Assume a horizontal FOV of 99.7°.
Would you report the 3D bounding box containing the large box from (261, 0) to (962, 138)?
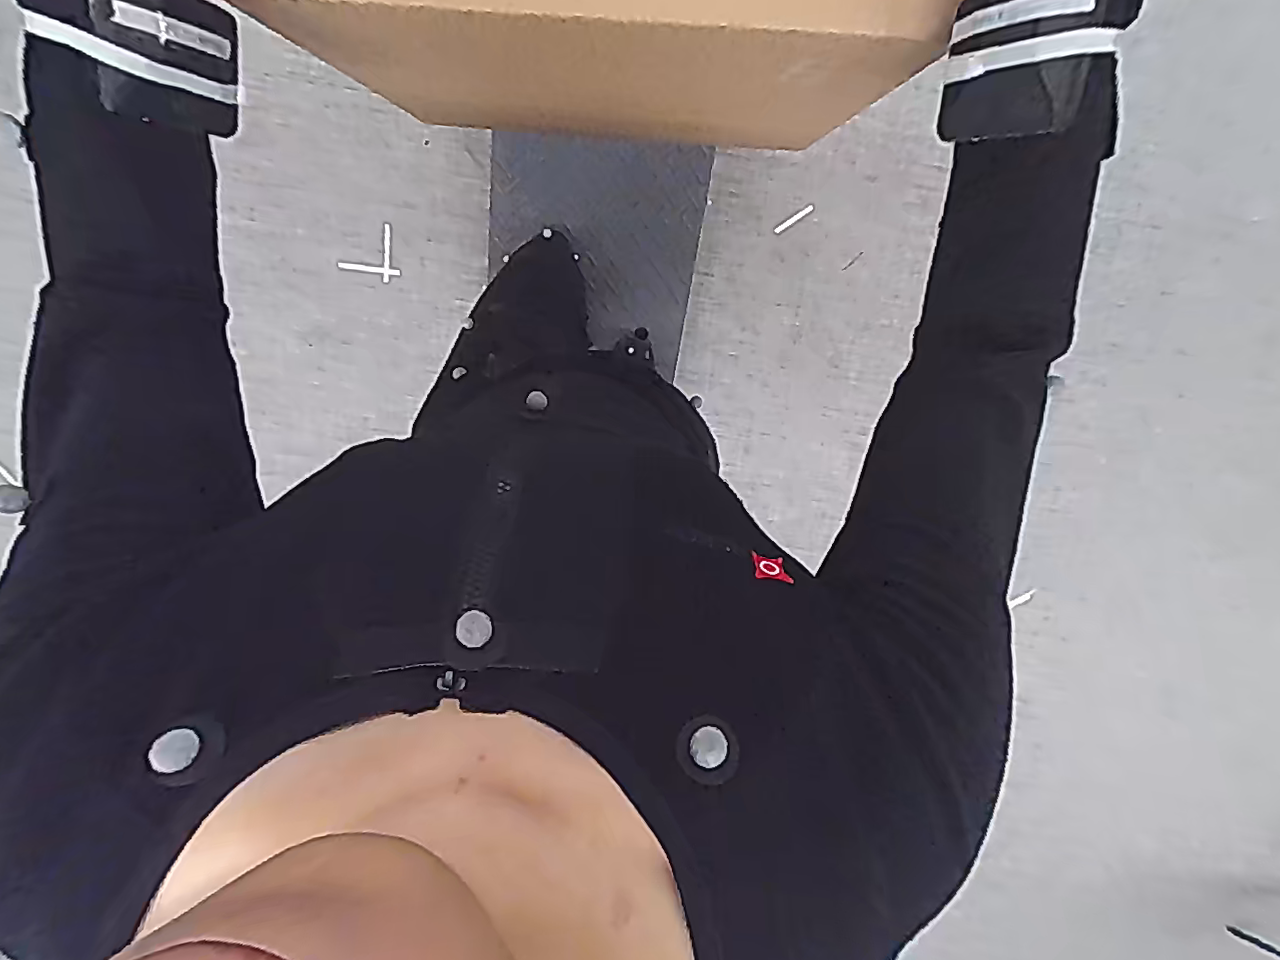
[{"bbox_3d":[-0.018,-0.453,0.377,0.408,0.320,0.320,3,113,-1],"label":"large box"}]
